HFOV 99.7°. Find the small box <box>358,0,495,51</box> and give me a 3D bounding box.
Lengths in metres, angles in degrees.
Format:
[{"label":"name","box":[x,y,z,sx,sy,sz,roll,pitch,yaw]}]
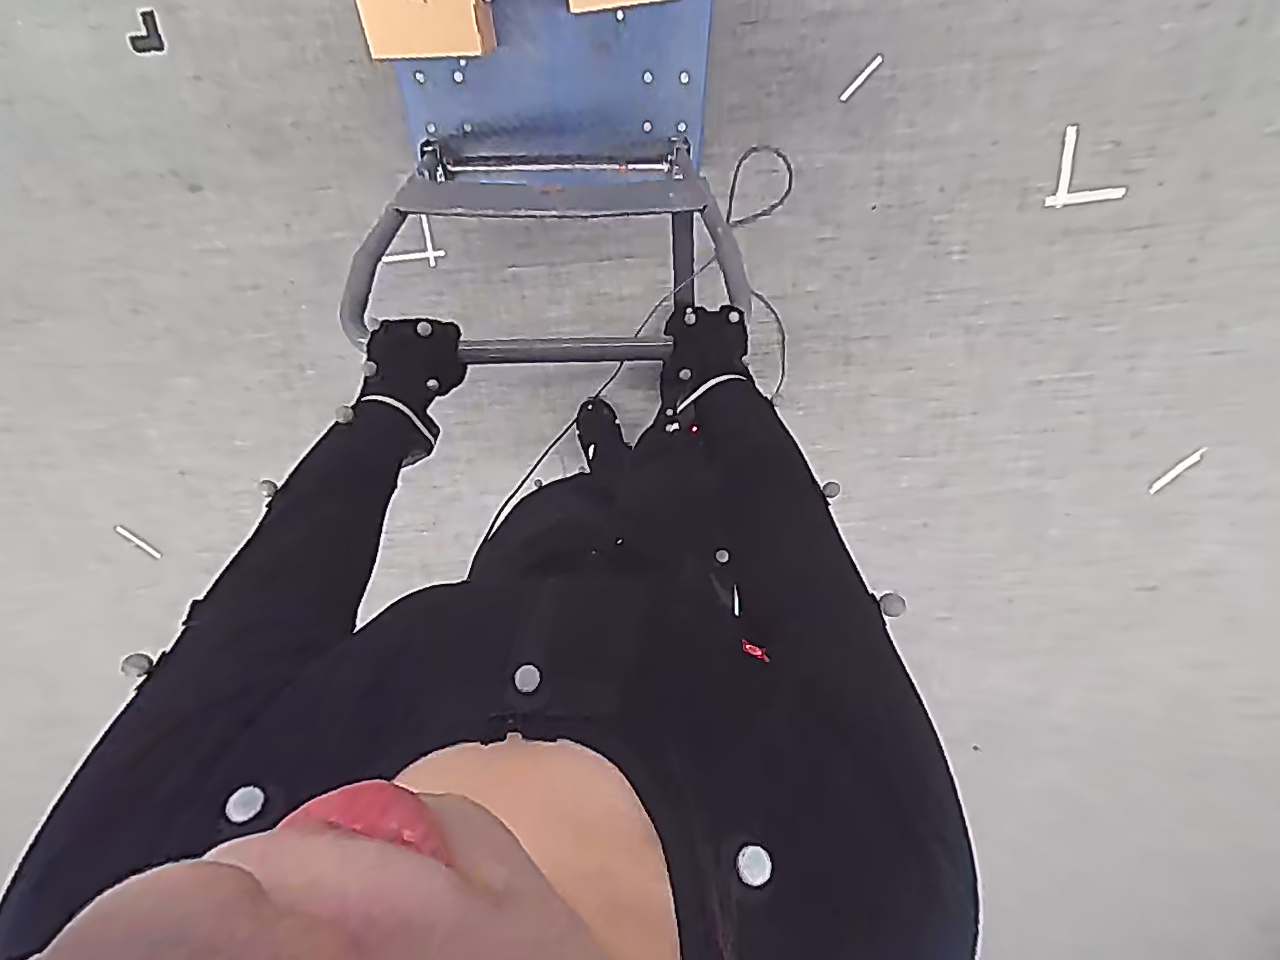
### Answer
[{"label":"small box","box":[-0.339,-0.783,0.850,0.179,0.176,0.168,-5,132,-3]}]
